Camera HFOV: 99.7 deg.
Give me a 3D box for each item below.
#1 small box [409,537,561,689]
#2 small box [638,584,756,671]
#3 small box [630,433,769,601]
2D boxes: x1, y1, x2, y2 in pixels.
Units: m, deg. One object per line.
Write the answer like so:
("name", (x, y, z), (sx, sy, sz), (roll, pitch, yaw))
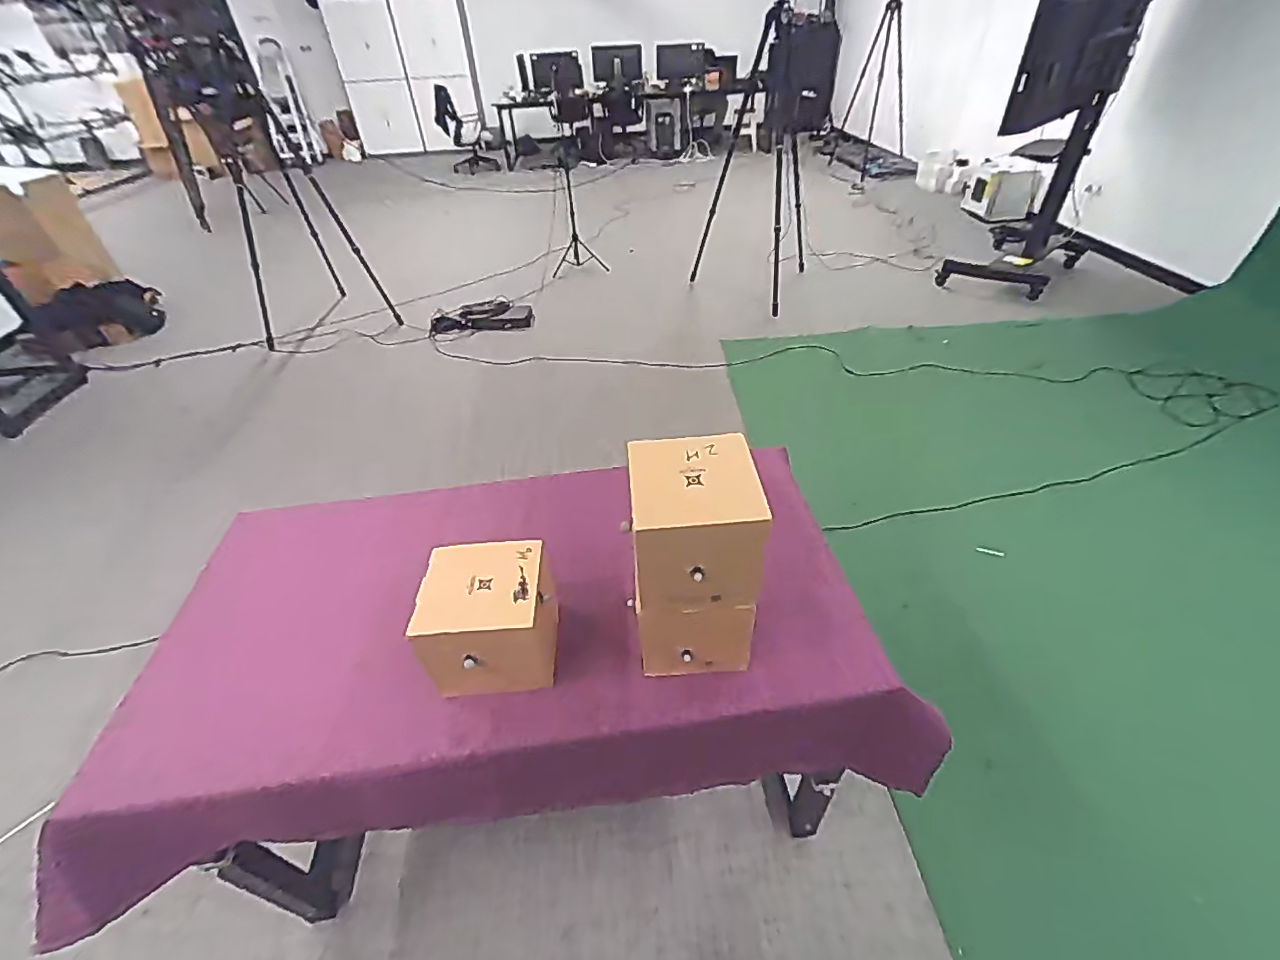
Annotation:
("small box", (-0.229, 0.211, 0.849), (0.179, 0.176, 0.168), (-4, 41, 0))
("small box", (0.081, 0.181, 0.865), (0.168, 0.176, 0.179), (-3, 41, 0))
("small box", (0.074, 0.056, 0.757), (0.168, 0.176, 0.179), (-4, 41, -1))
